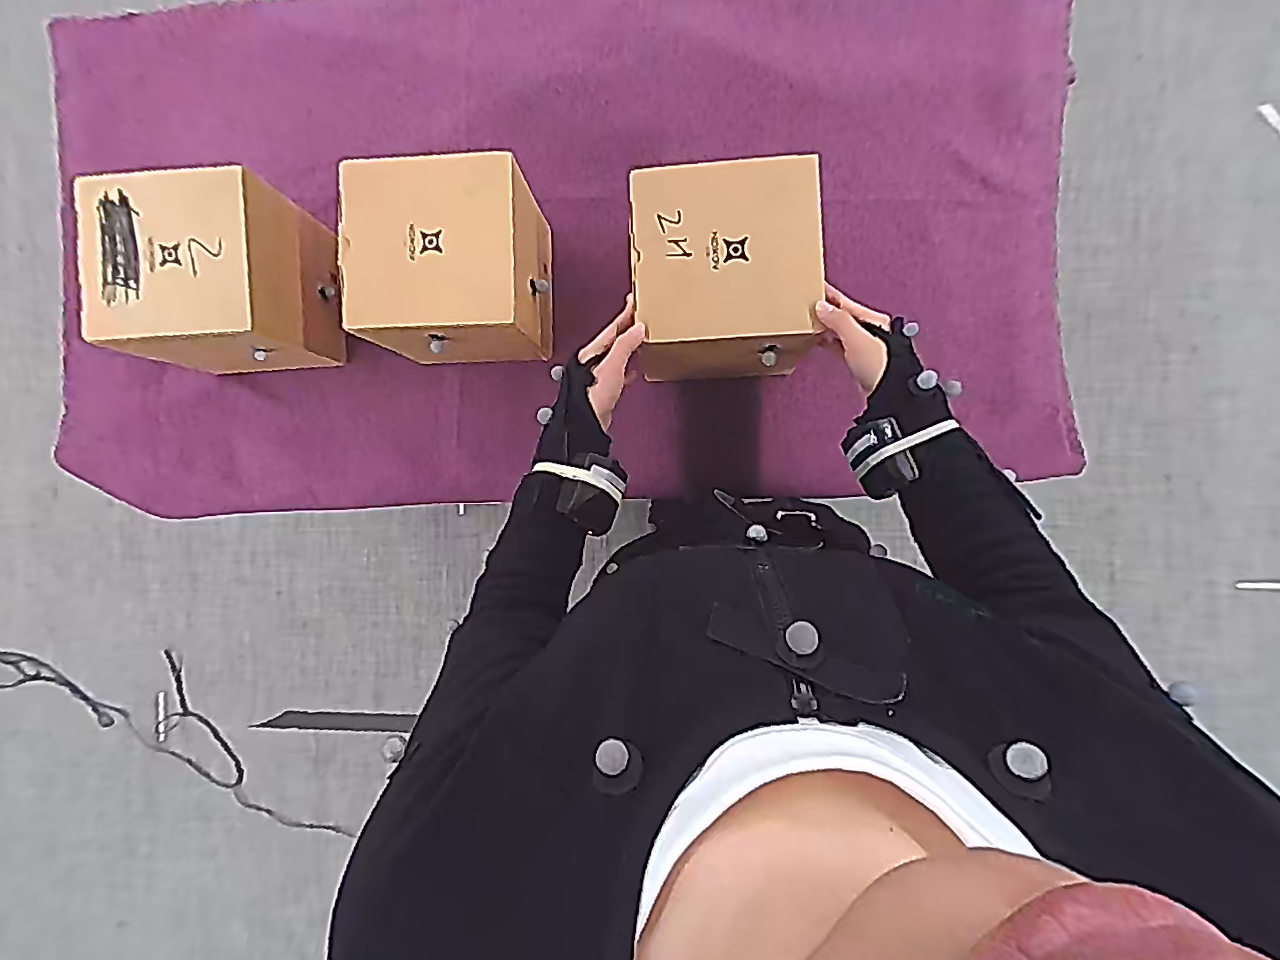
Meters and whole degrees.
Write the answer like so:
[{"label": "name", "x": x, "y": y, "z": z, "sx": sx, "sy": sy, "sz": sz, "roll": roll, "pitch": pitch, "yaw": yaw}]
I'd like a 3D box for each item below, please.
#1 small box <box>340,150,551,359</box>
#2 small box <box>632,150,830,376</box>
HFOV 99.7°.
[{"label": "small box", "x": -0.199, "y": -0.234, "z": 0.601, "sx": 0.179, "sy": 0.176, "sz": 0.168, "roll": -1, "pitch": 90, "yaw": 5}, {"label": "small box", "x": 0.086, "y": -0.210, "z": 0.567, "sx": 0.179, "sy": 0.176, "sz": 0.168, "roll": -2, "pitch": 87, "yaw": 5}]
